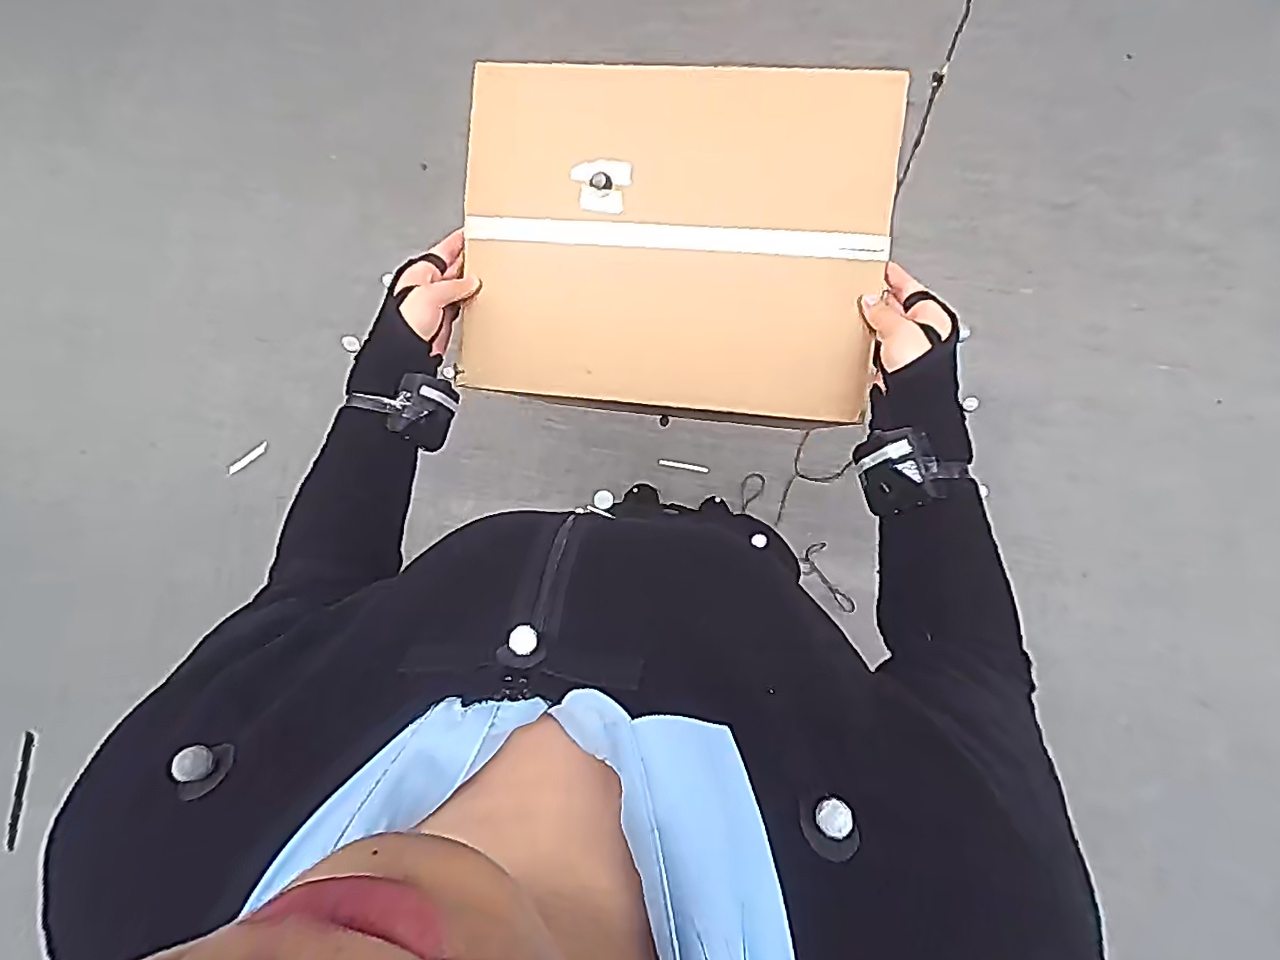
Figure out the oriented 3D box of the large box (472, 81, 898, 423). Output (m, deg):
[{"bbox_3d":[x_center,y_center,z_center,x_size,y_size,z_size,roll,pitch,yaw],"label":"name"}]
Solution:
[{"bbox_3d":[0.052,-0.240,0.677,0.408,0.320,0.320,6,94,7],"label":"large box"}]
